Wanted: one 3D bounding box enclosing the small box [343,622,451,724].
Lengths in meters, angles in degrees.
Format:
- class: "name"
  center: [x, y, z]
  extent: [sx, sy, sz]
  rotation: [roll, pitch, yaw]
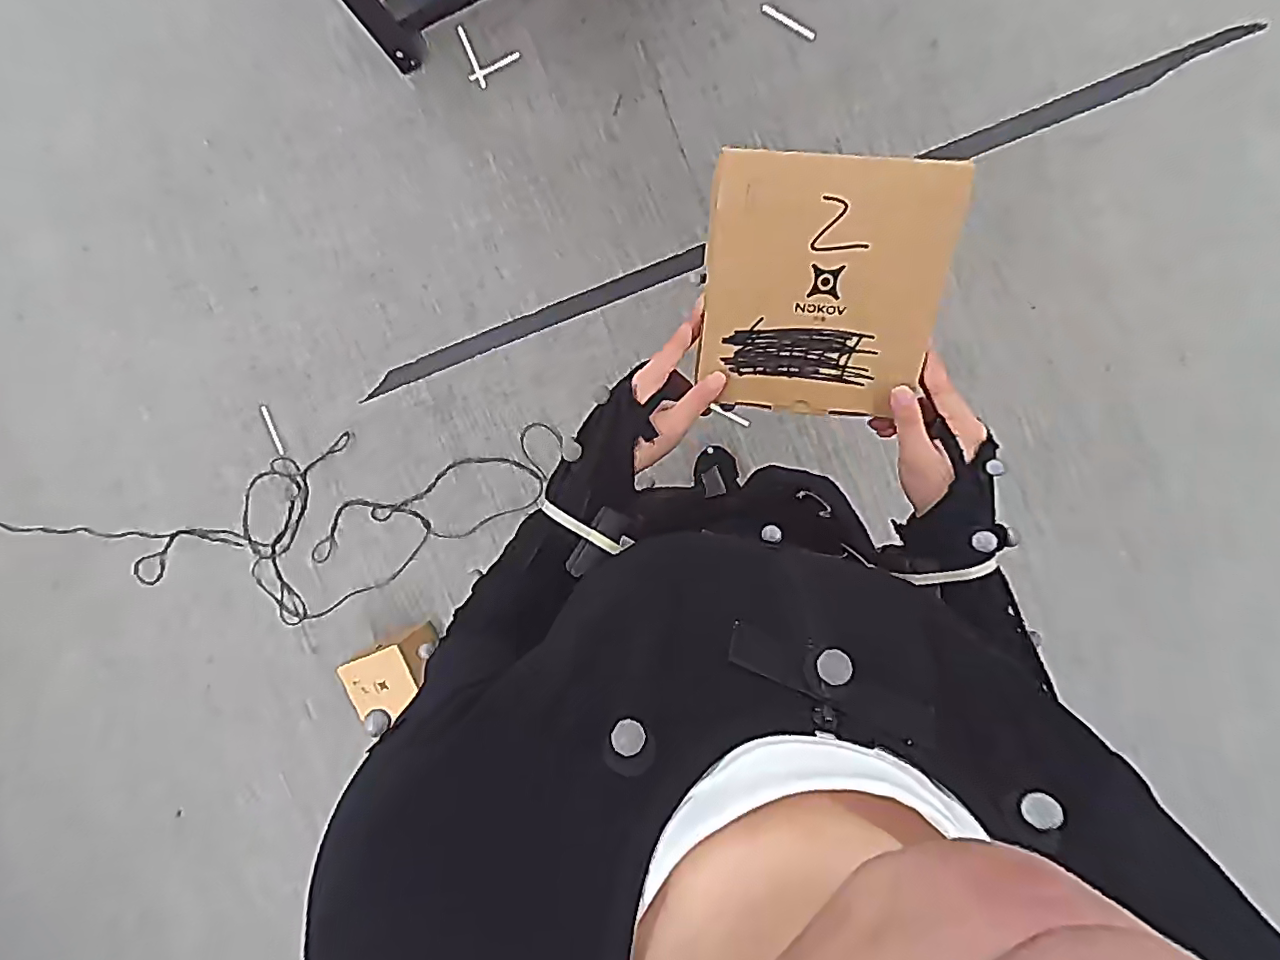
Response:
- class: "small box"
  center: [-0.619, 0.494, 1.409]
  extent: [0.179, 0.176, 0.168]
  rotation: [-22, 93, 7]
